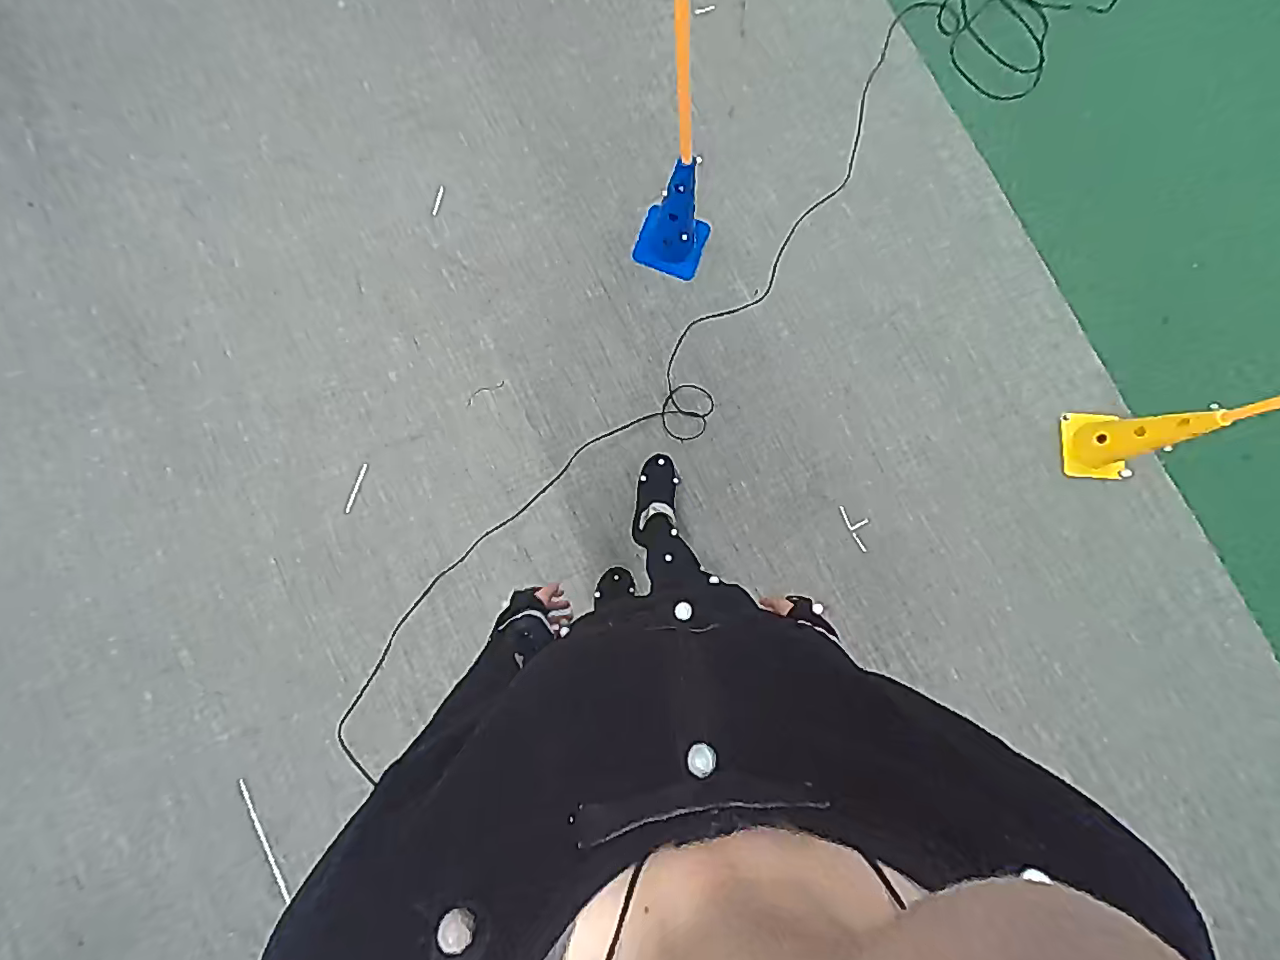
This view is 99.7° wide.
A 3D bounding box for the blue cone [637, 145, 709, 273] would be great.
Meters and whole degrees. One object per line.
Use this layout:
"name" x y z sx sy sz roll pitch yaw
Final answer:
"blue cone" 0.104 -0.742 1.460 0.193 0.380 0.192 19 82 0
